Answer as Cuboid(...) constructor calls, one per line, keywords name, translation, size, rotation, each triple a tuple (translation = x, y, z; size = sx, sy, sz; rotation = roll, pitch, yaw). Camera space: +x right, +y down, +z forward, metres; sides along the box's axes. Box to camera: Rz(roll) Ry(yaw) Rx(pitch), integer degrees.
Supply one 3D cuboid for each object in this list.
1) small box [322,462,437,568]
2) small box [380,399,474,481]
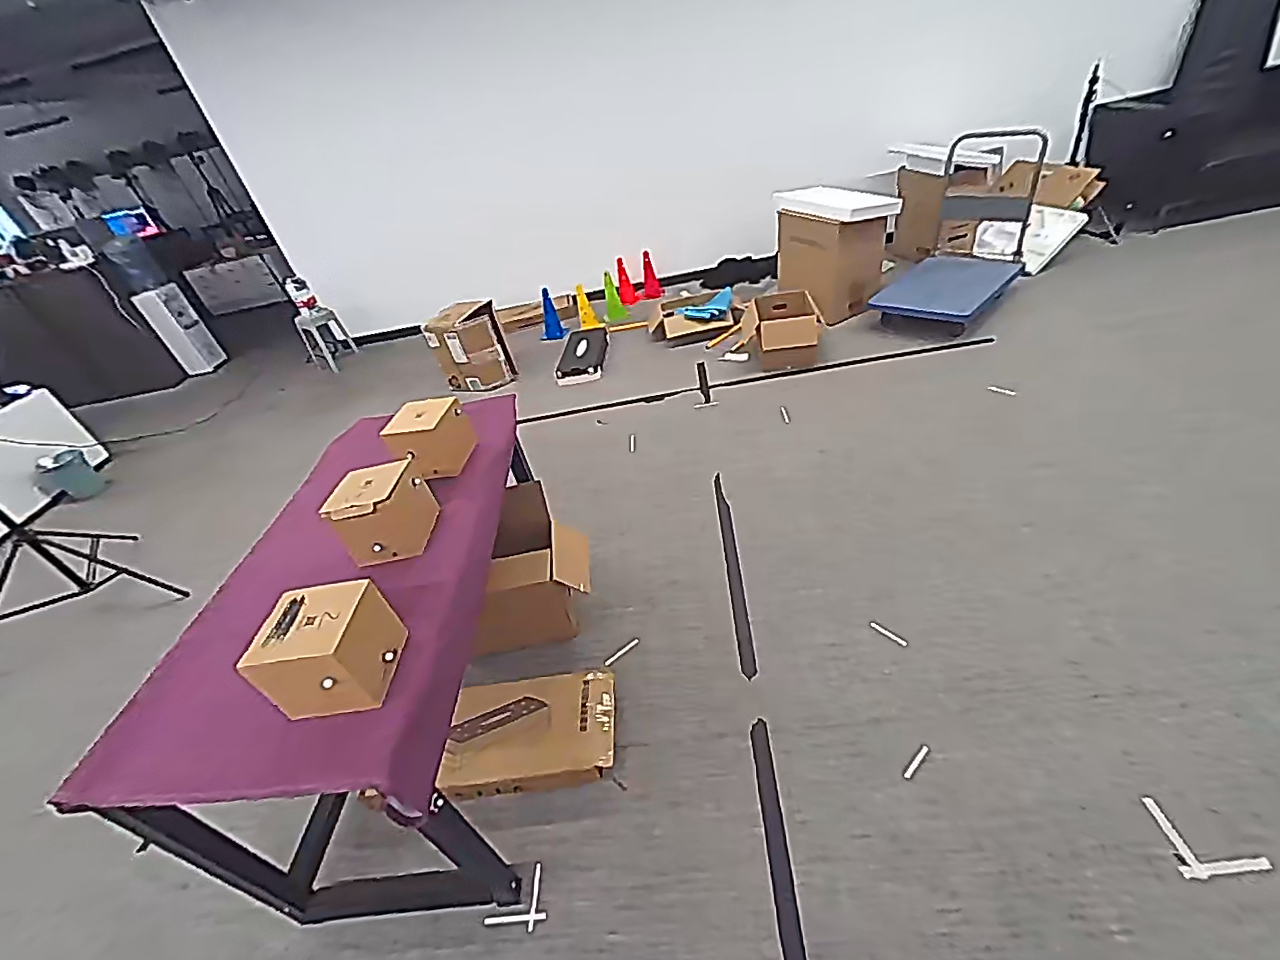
Cuboid(name="small box", translation=(-0.616, 0.084, 1.307), size=(0.168, 0.176, 0.179), rotation=(-12, 36, 6))
Cuboid(name="small box", translation=(-0.603, -0.110, 1.560), size=(0.168, 0.176, 0.179), rotation=(-6, 37, 11))
